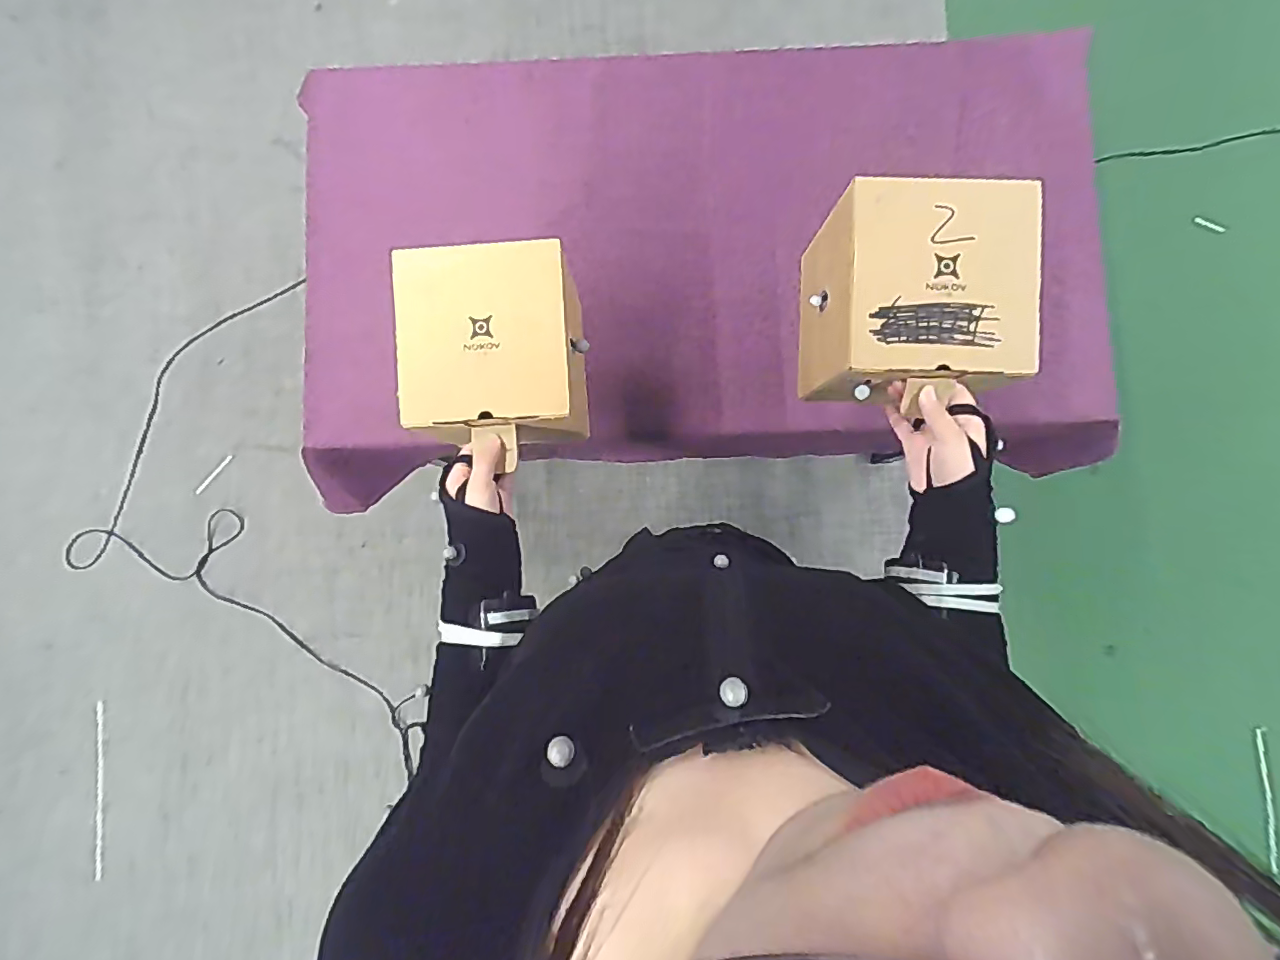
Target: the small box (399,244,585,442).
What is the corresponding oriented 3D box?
[{"bbox_3d":[-0.155,-0.143,0.616,0.168,0.176,0.179,-4,88,0],"label":"small box"}]
